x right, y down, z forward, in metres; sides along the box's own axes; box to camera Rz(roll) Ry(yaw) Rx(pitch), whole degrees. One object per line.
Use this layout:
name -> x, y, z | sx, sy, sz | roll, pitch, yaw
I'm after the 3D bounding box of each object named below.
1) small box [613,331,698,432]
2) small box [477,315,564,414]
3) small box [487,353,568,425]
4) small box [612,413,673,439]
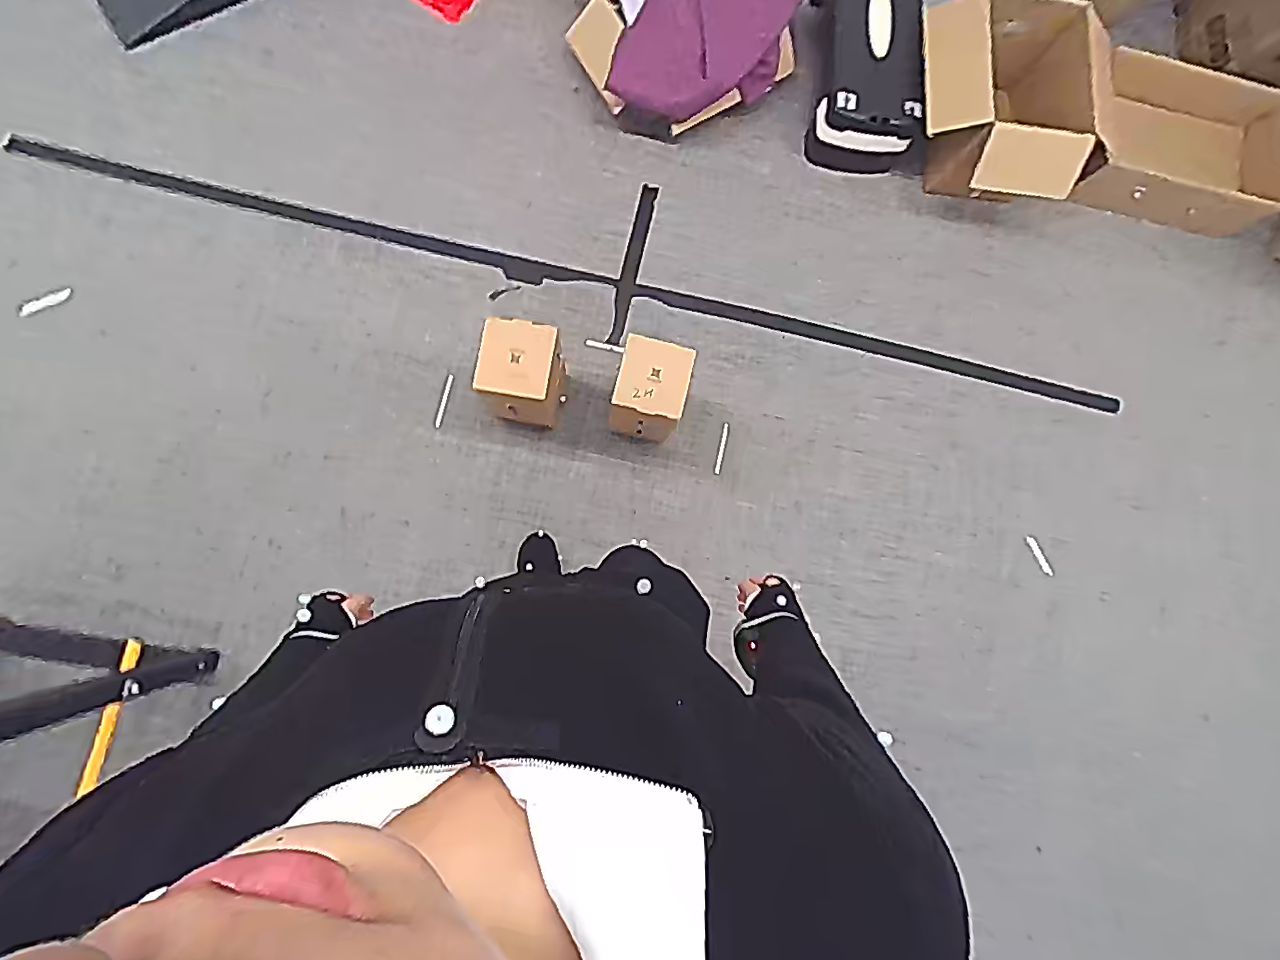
small box -> 0.031, -0.234, 1.325 | 0.168, 0.176, 0.179 | 14, 83, -3
small box -> -0.280, -0.272, 1.304 | 0.168, 0.176, 0.179 | 9, 84, -2
small box -> -0.297, -0.256, 1.465 | 0.179, 0.176, 0.168 | 11, 83, -4
small box -> 0.021, -0.221, 1.490 | 0.168, 0.176, 0.179 | 13, 83, -3
